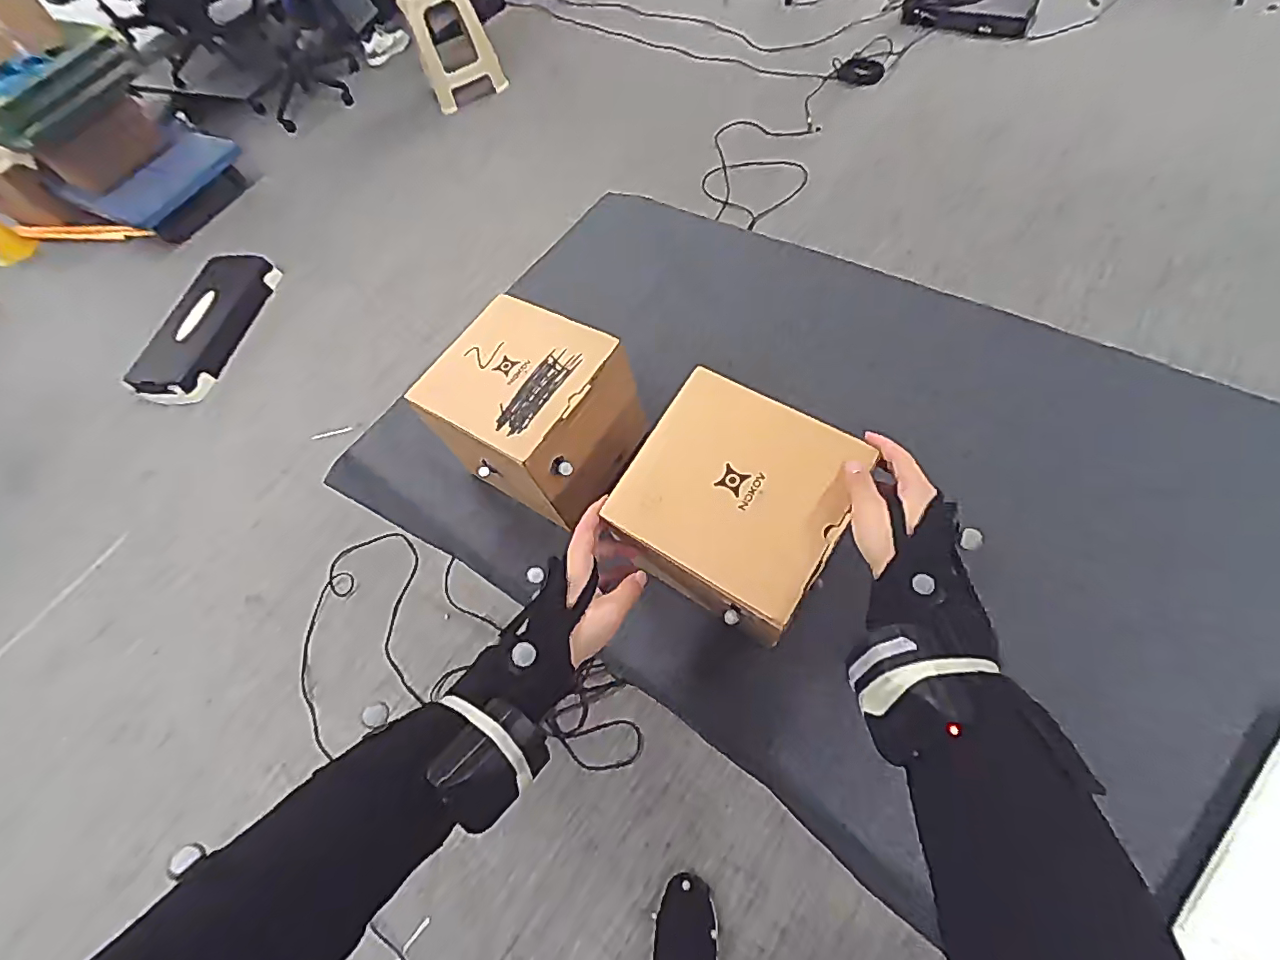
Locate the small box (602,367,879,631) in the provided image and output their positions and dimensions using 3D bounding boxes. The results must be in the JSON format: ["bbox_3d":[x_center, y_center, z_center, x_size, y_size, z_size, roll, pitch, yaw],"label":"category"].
[{"bbox_3d":[0.092,0.029,0.521,0.179,0.176,0.168,29,75,18],"label":"small box"}]
